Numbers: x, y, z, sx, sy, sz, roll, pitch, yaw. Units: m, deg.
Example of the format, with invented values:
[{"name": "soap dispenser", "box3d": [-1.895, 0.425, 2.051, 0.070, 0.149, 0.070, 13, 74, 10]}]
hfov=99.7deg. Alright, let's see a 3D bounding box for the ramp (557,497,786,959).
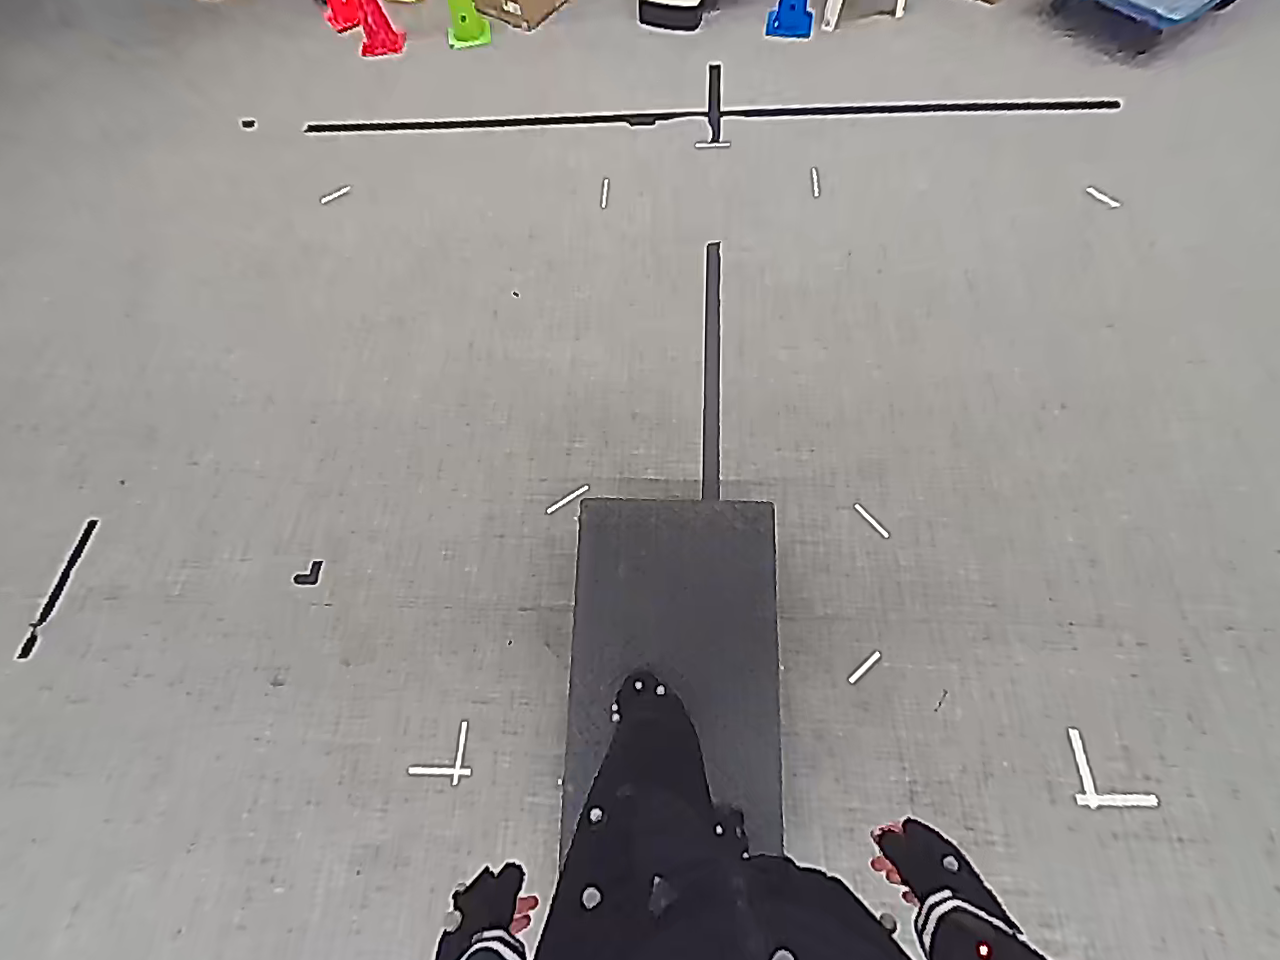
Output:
[{"name": "ramp", "box3d": [0.077, 0.530, 1.254, 0.509, 0.206, 0.991, 0, 66, 2]}]
